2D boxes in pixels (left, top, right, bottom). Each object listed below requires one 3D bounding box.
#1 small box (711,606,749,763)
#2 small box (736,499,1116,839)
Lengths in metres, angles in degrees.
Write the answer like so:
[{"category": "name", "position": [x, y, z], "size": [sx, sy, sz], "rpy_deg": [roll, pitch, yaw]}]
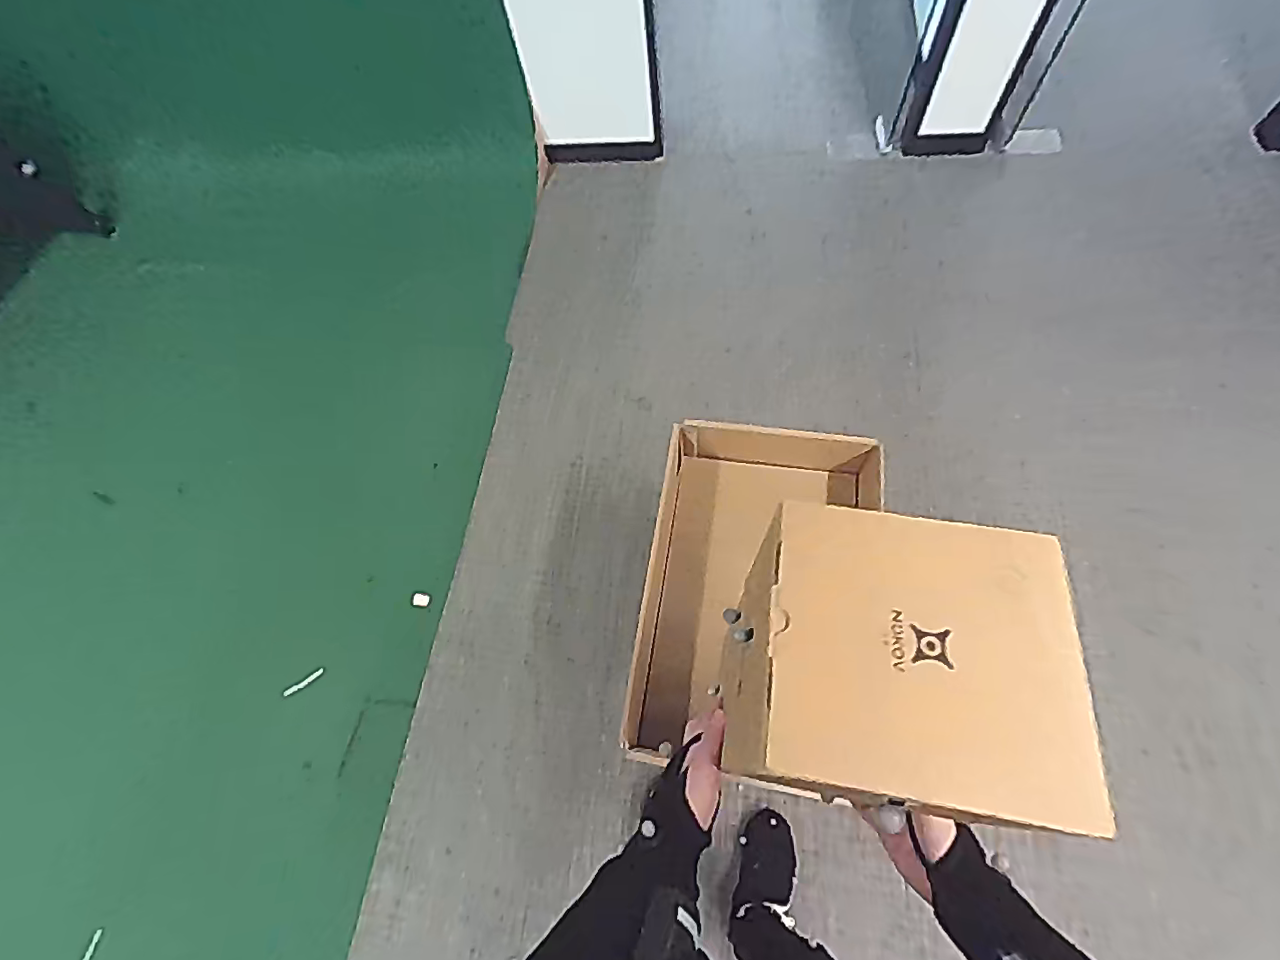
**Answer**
[{"category": "small box", "position": [0.192, 0.274, 0.679], "size": [0.179, 0.176, 0.168], "rpy_deg": [9, 62, 9]}, {"category": "small box", "position": [0.172, 0.132, 0.386], "size": [0.179, 0.176, 0.168], "rpy_deg": [8, 63, 7]}]
